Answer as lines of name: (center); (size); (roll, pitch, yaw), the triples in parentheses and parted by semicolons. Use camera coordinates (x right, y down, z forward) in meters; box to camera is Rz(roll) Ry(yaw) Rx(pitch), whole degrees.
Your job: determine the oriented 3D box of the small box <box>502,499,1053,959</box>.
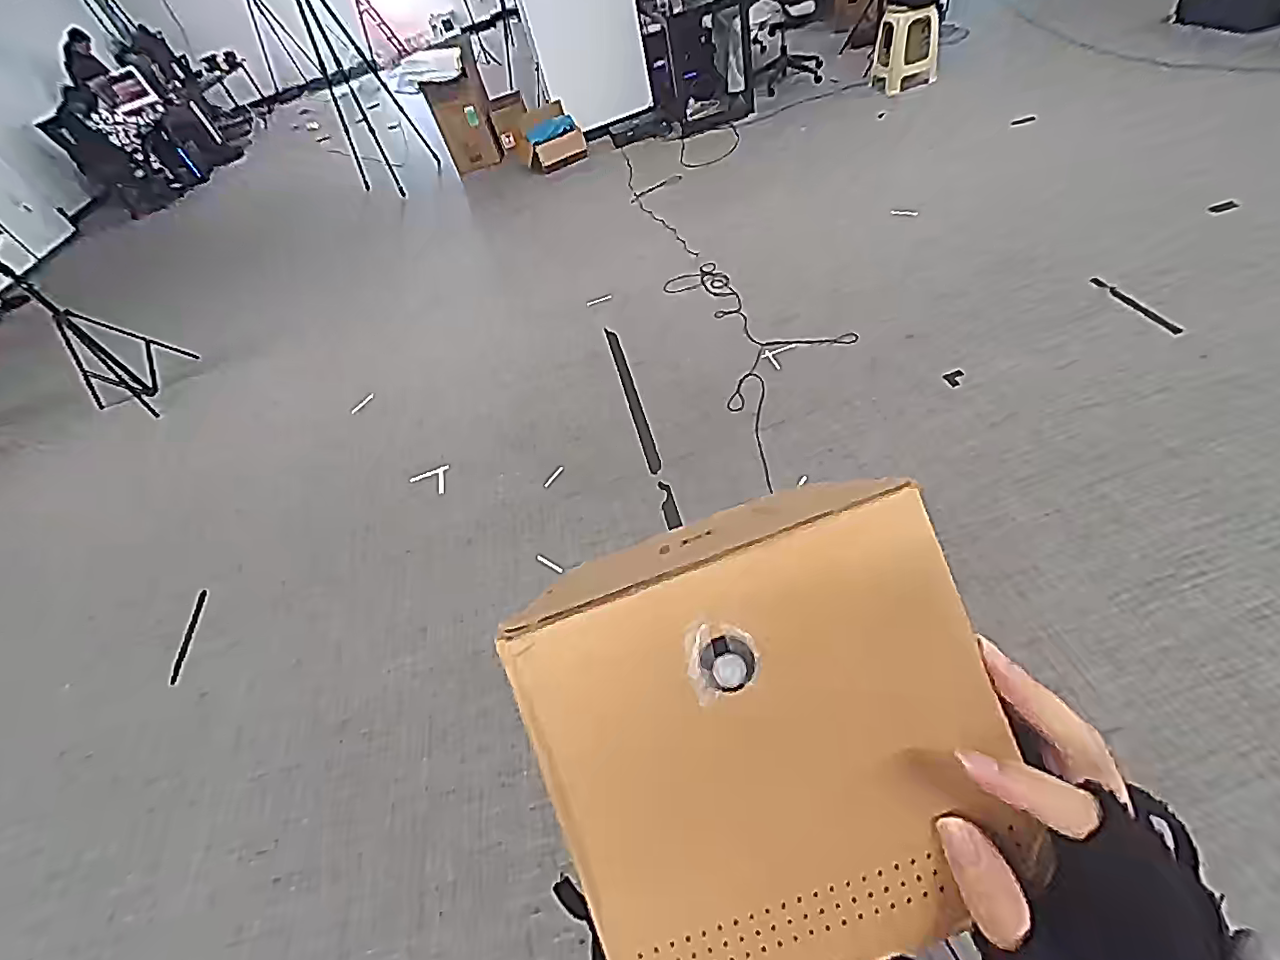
small box: (0.058, 0.118, 0.285); (0.179, 0.168, 0.176); (-20, 88, 2)
